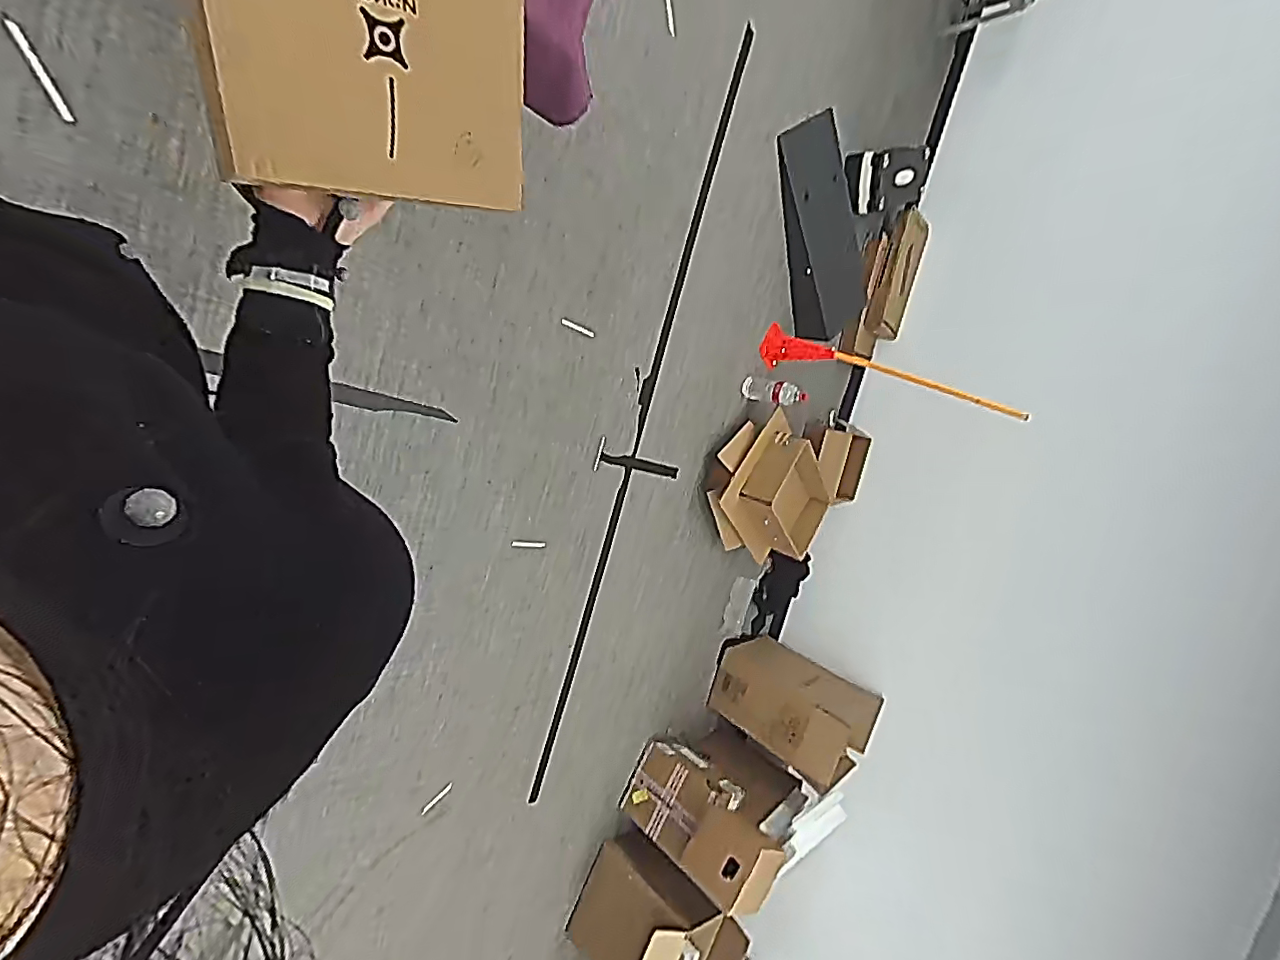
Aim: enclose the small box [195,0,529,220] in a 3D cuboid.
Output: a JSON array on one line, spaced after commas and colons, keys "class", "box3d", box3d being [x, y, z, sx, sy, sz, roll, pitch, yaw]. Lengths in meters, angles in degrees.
[{"class": "small box", "box3d": [-0.188, -0.283, 0.364, 0.168, 0.176, 0.179, -12, 121, -36]}]
